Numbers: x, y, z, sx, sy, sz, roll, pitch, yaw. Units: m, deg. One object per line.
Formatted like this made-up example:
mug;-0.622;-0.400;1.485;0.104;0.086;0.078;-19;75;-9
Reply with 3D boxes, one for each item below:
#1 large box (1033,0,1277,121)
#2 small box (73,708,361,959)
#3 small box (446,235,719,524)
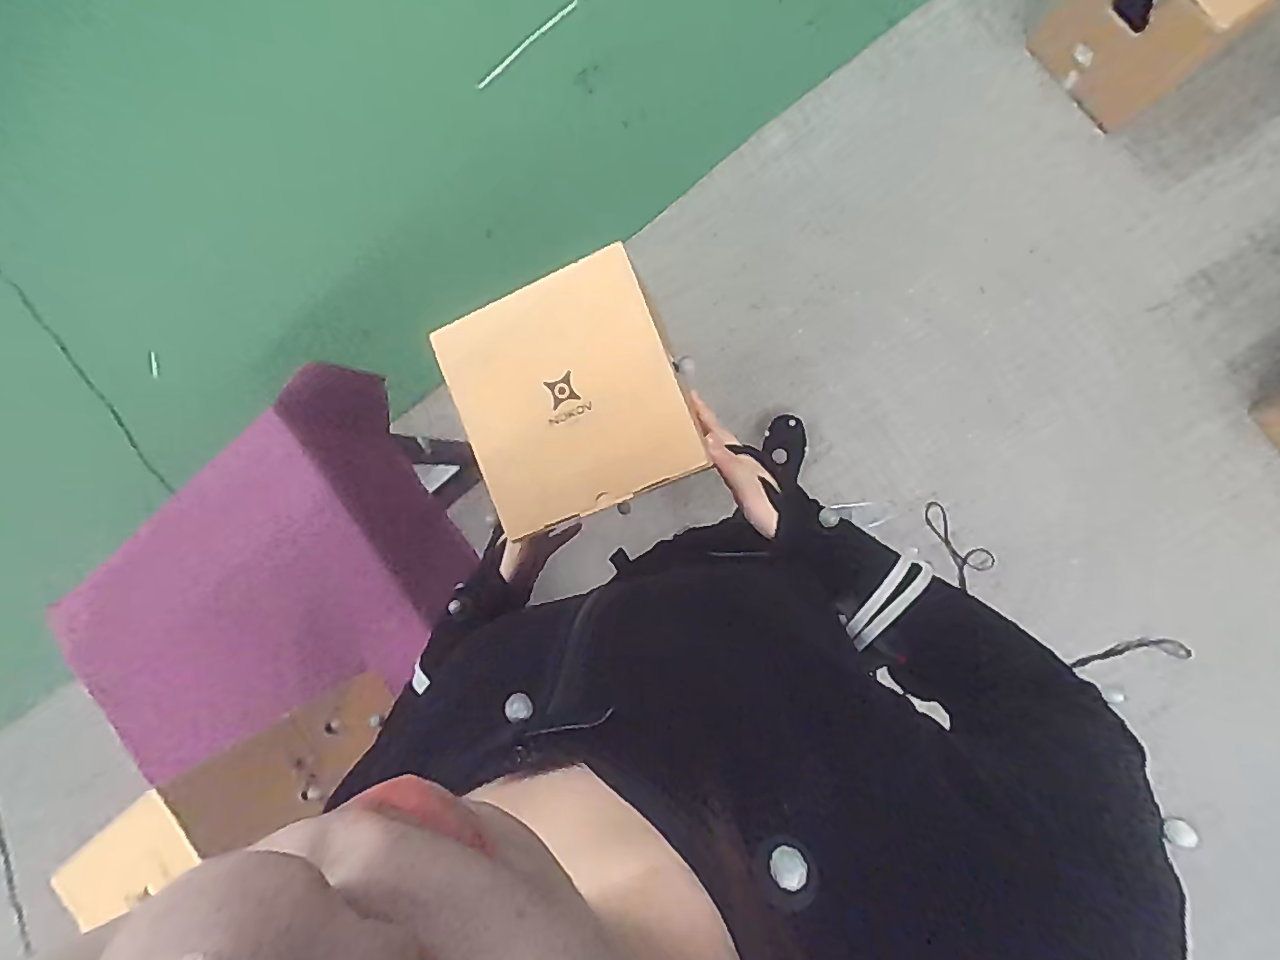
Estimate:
large box;1.168;-1.086;1.131;0.408;0.320;0.320;-36;84;8
small box;-0.477;0.409;0.634;0.179;0.176;0.168;-40;85;9
small box;-0.035;-0.077;0.484;0.168;0.176;0.179;-21;91;11
